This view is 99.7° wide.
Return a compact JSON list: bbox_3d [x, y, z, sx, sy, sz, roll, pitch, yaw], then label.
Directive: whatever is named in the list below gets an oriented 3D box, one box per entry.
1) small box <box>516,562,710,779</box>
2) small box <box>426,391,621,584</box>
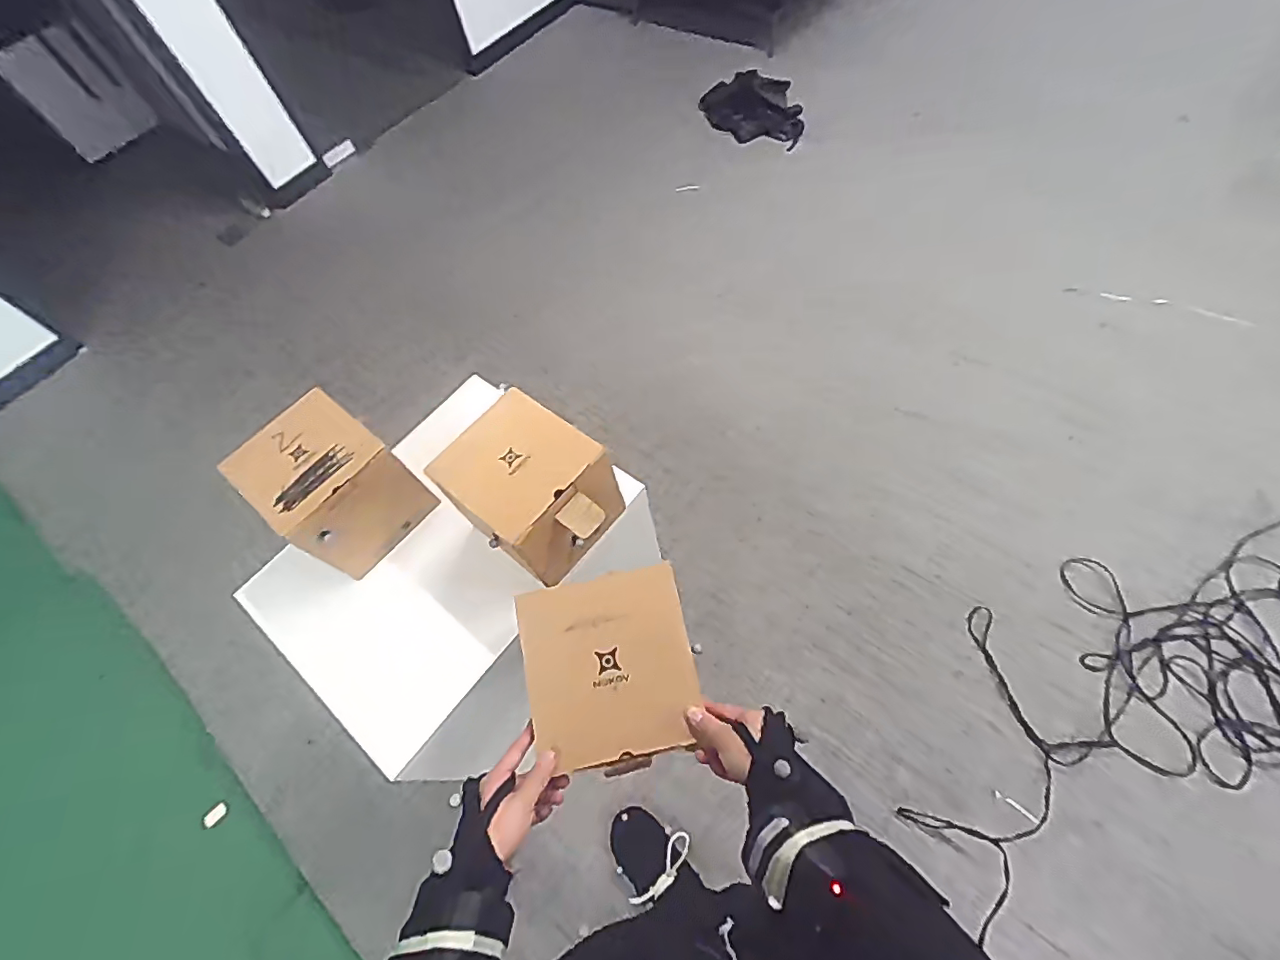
[{"bbox_3d":[-0.026,0.201,0.600,0.168,0.176,0.179,-12,73,-2],"label":"small box"},{"bbox_3d":[-0.149,0.017,0.744,0.179,0.176,0.168,33,70,23],"label":"small box"}]
